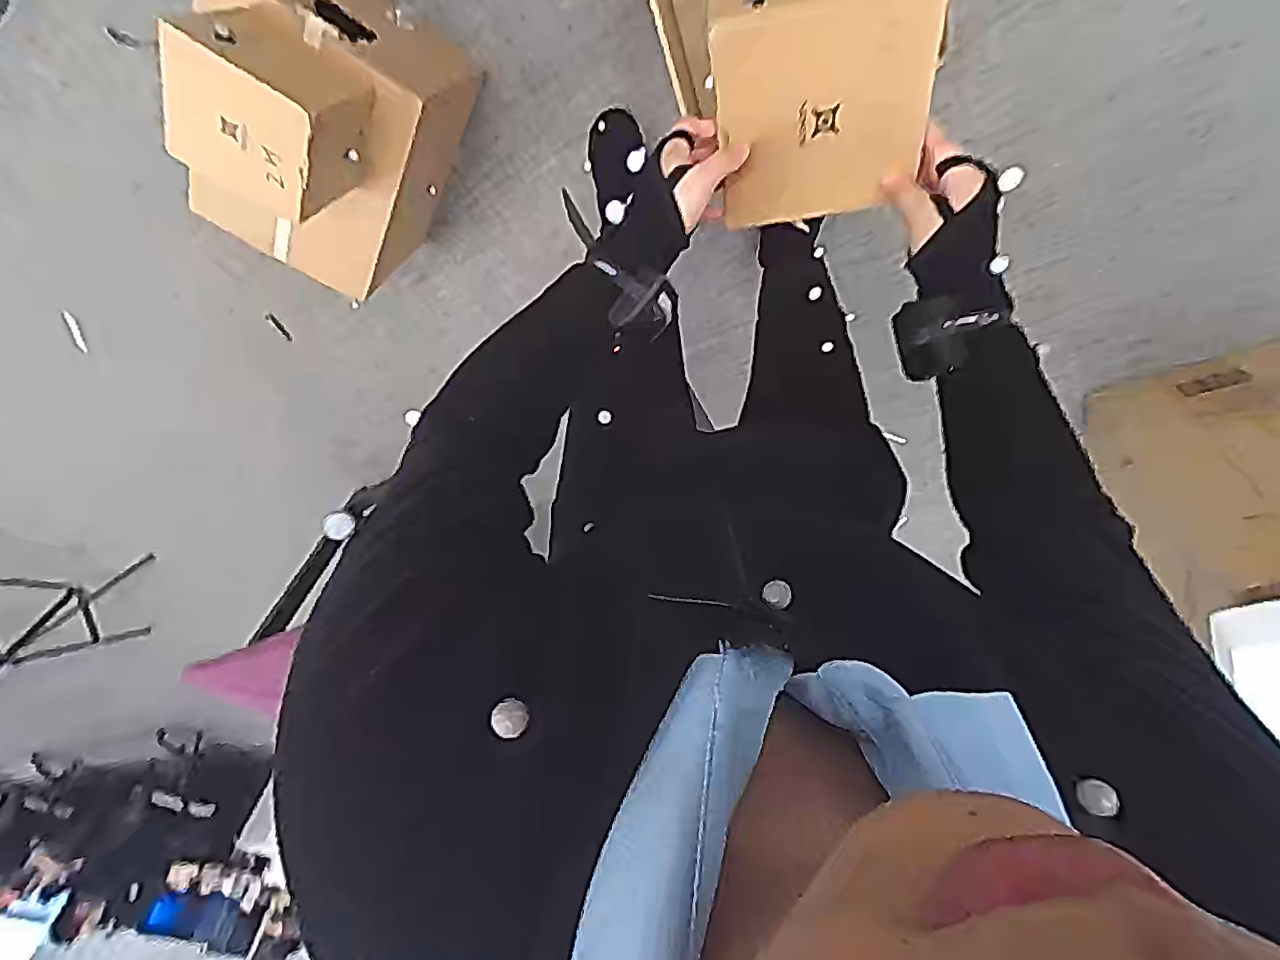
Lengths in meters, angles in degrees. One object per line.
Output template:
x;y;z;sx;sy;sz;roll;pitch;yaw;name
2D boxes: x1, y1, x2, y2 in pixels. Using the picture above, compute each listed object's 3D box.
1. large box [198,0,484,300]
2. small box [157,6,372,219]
-0.527;-0.628;0.974;0.320;0.320;0.408;29;133;-17;large box
-0.505;-0.505;0.743;0.179;0.176;0.168;27;134;-18;small box
